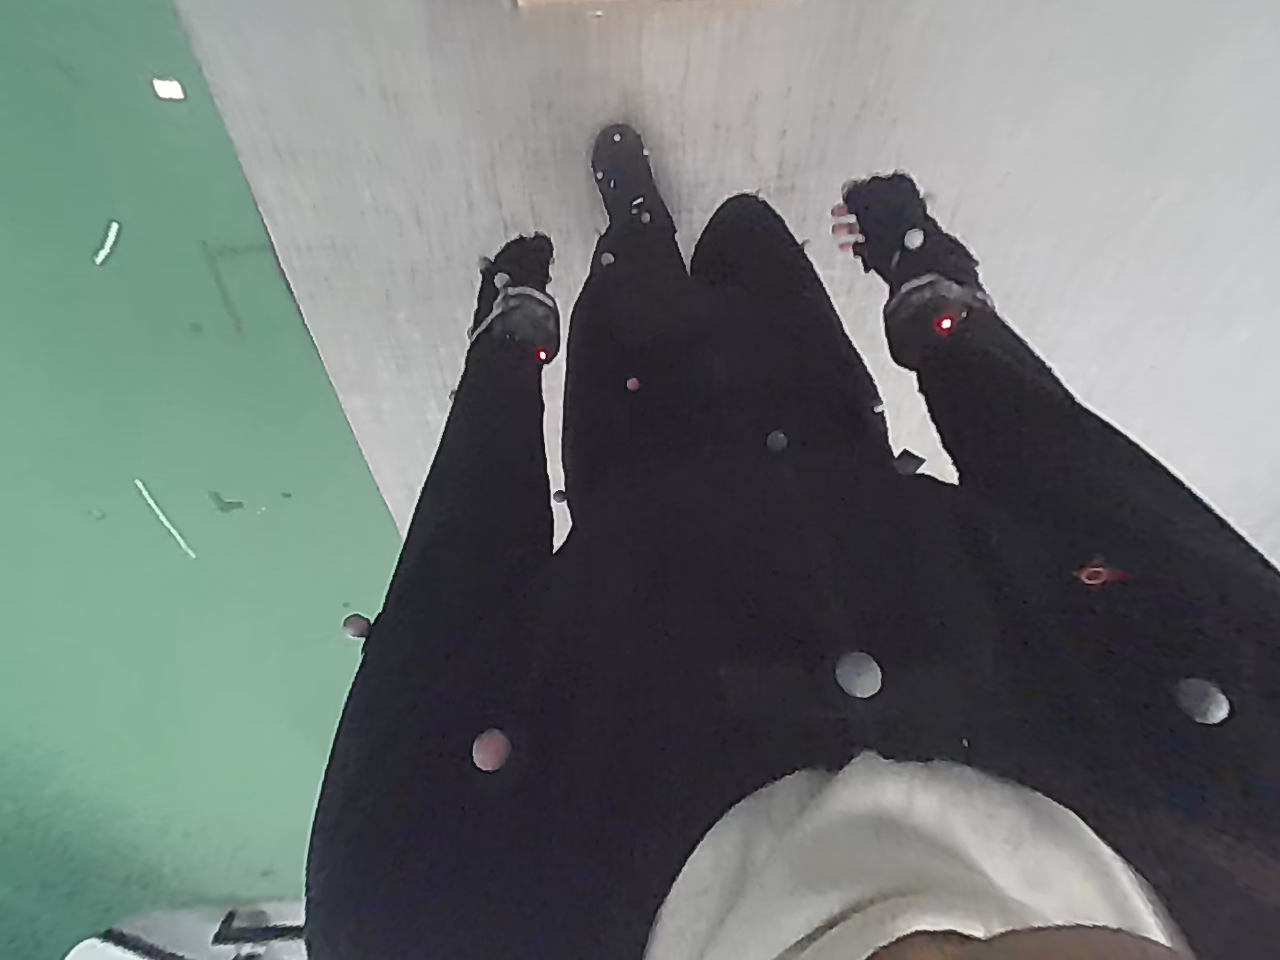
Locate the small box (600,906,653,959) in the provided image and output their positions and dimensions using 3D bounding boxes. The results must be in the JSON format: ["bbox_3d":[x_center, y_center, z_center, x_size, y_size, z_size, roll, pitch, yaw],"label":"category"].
[{"bbox_3d":[-0.045,1.596,1.866,0.179,0.176,0.168,-3,128,1],"label":"small box"}]
